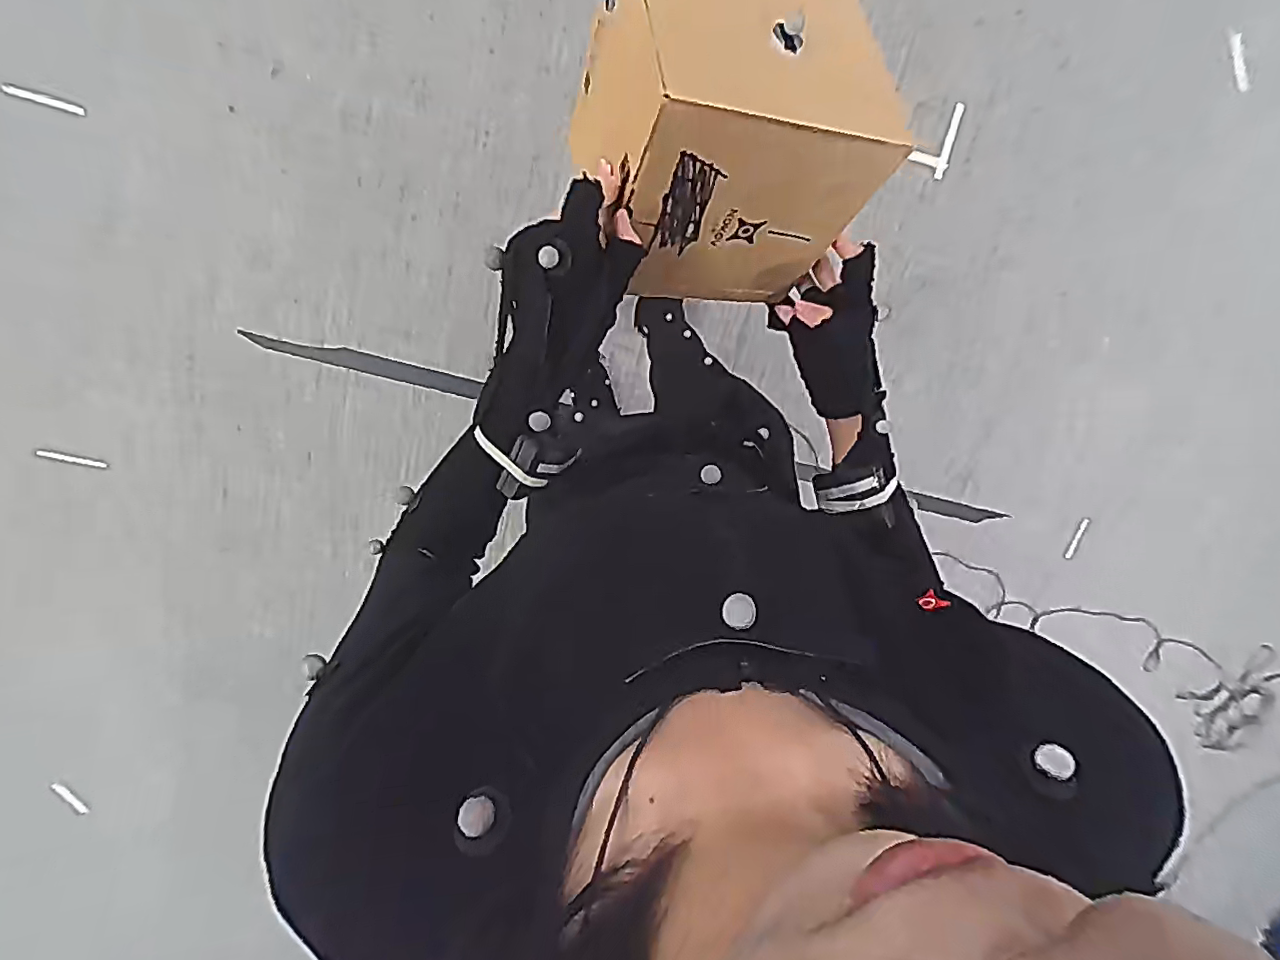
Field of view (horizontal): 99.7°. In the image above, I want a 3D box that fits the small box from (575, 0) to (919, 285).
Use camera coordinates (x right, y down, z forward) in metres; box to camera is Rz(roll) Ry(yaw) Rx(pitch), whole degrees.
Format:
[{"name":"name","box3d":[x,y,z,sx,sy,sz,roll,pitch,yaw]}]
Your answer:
[{"name":"small box","box3d":[0.055,-0.271,0.397,0.179,0.168,0.176,-3,73,-19]}]
